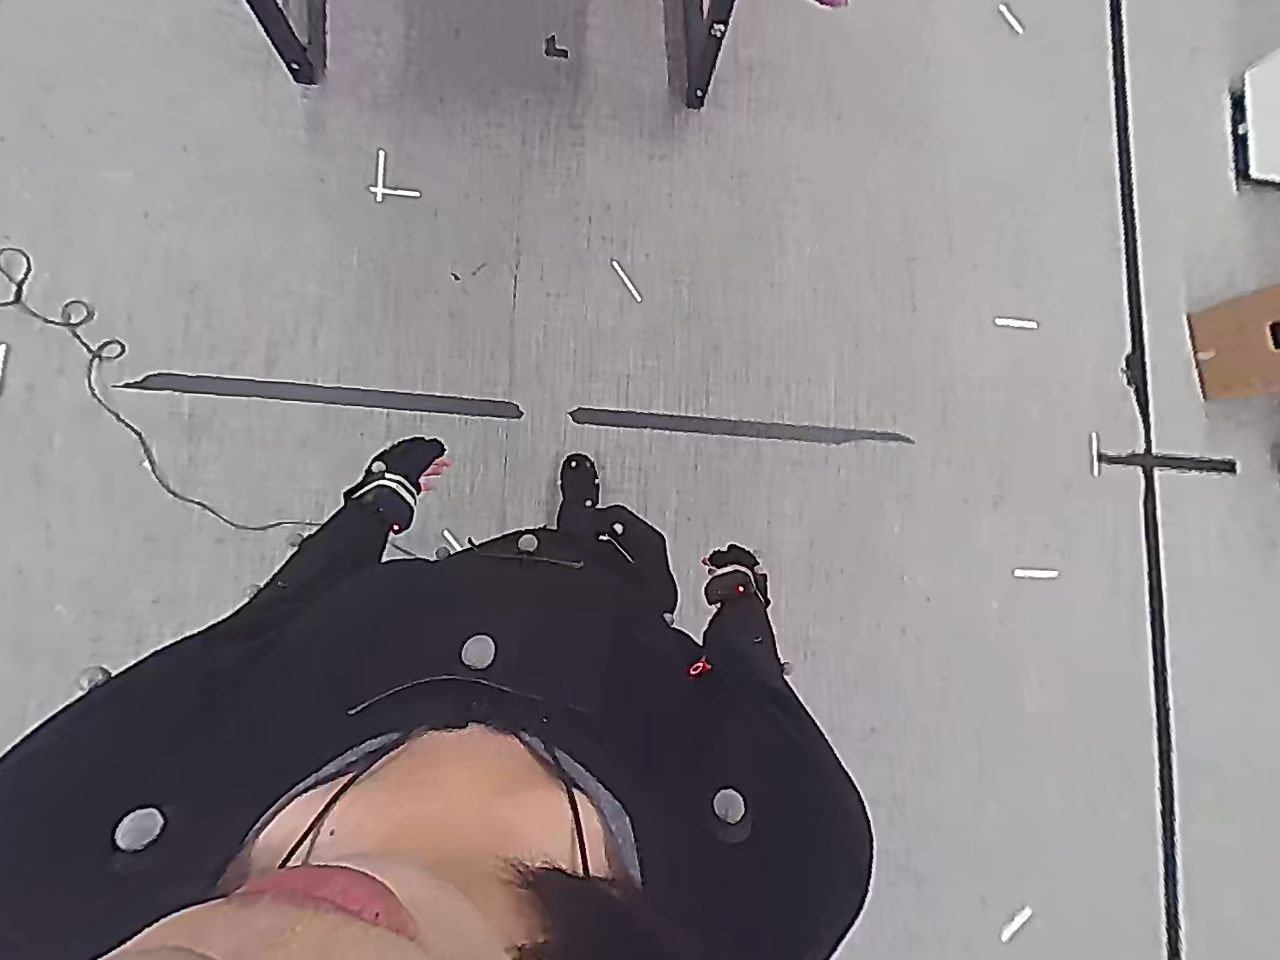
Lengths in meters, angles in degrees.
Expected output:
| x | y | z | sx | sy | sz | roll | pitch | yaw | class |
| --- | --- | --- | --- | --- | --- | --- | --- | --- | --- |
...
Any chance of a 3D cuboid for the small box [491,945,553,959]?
| x | y | z | sx | sy | sz | roll | pitch | yaw | class |
| --- | --- | --- | --- | --- | --- | --- | --- | --- | --- |
| -0.296 | 1.280 | 1.302 | 0.179 | 0.176 | 0.168 | -5 | 85 | -9 | small box |
